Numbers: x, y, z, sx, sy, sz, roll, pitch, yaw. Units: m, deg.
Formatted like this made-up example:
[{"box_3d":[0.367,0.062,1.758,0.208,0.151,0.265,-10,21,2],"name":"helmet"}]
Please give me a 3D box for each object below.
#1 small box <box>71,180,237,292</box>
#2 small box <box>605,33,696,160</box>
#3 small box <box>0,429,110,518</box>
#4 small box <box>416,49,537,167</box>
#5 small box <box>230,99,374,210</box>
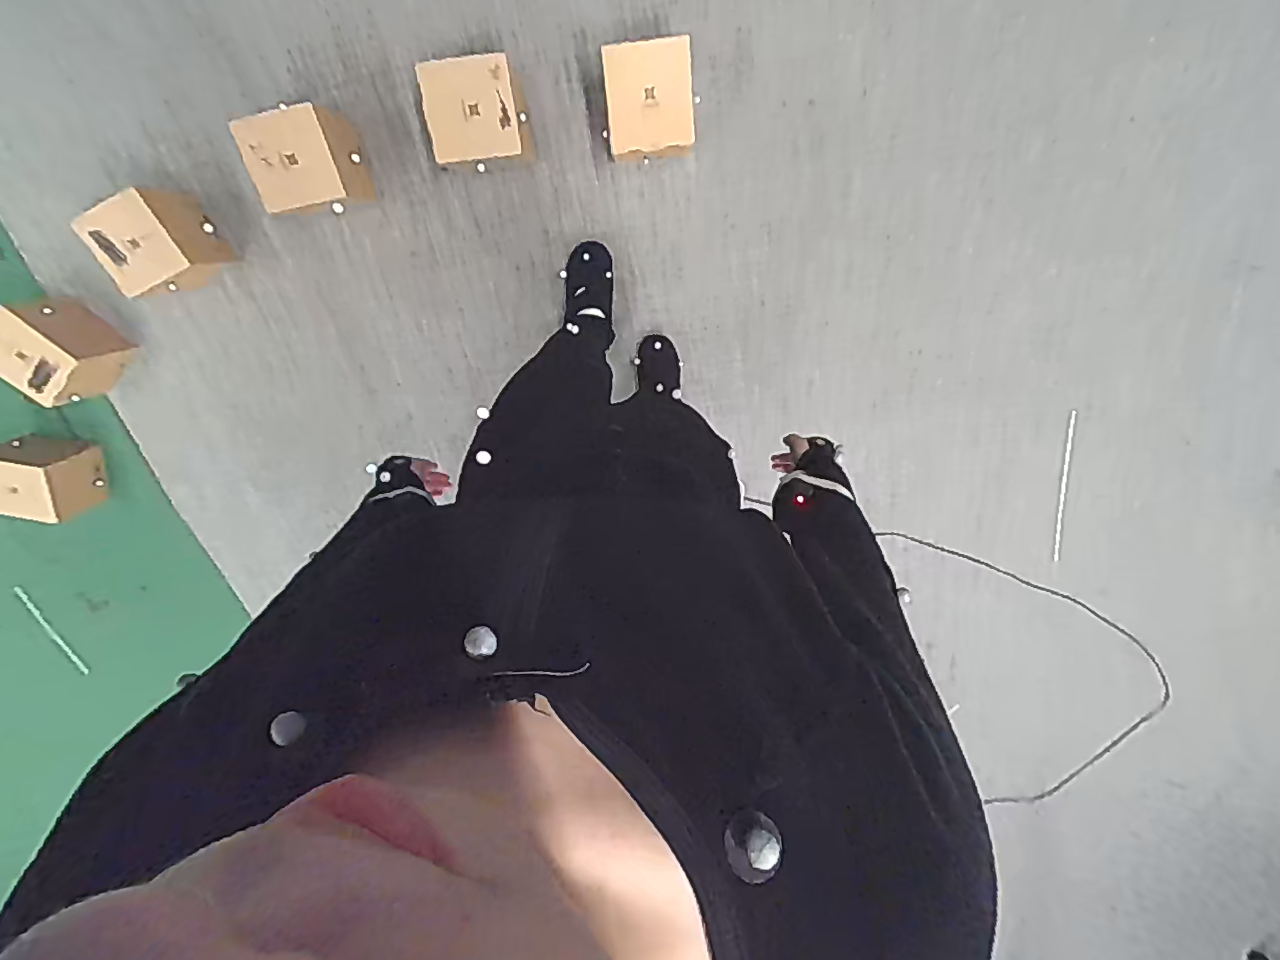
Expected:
[{"box_3d":[-1.057,-0.534,1.195,0.179,0.176,0.168,-21,113,8],"name":"small box"},{"box_3d":[0.019,-0.767,1.098,0.168,0.176,0.179,-6,116,2],"name":"small box"},{"box_3d":[-1.577,-0.023,1.431,0.179,0.176,0.168,12,115,-6],"name":"small box"},{"box_3d":[-0.322,-0.747,1.102,0.179,0.176,0.168,-5,115,2],"name":"small box"},{"box_3d":[-0.688,-0.672,1.134,0.179,0.176,0.168,-10,114,4],"name":"small box"}]
